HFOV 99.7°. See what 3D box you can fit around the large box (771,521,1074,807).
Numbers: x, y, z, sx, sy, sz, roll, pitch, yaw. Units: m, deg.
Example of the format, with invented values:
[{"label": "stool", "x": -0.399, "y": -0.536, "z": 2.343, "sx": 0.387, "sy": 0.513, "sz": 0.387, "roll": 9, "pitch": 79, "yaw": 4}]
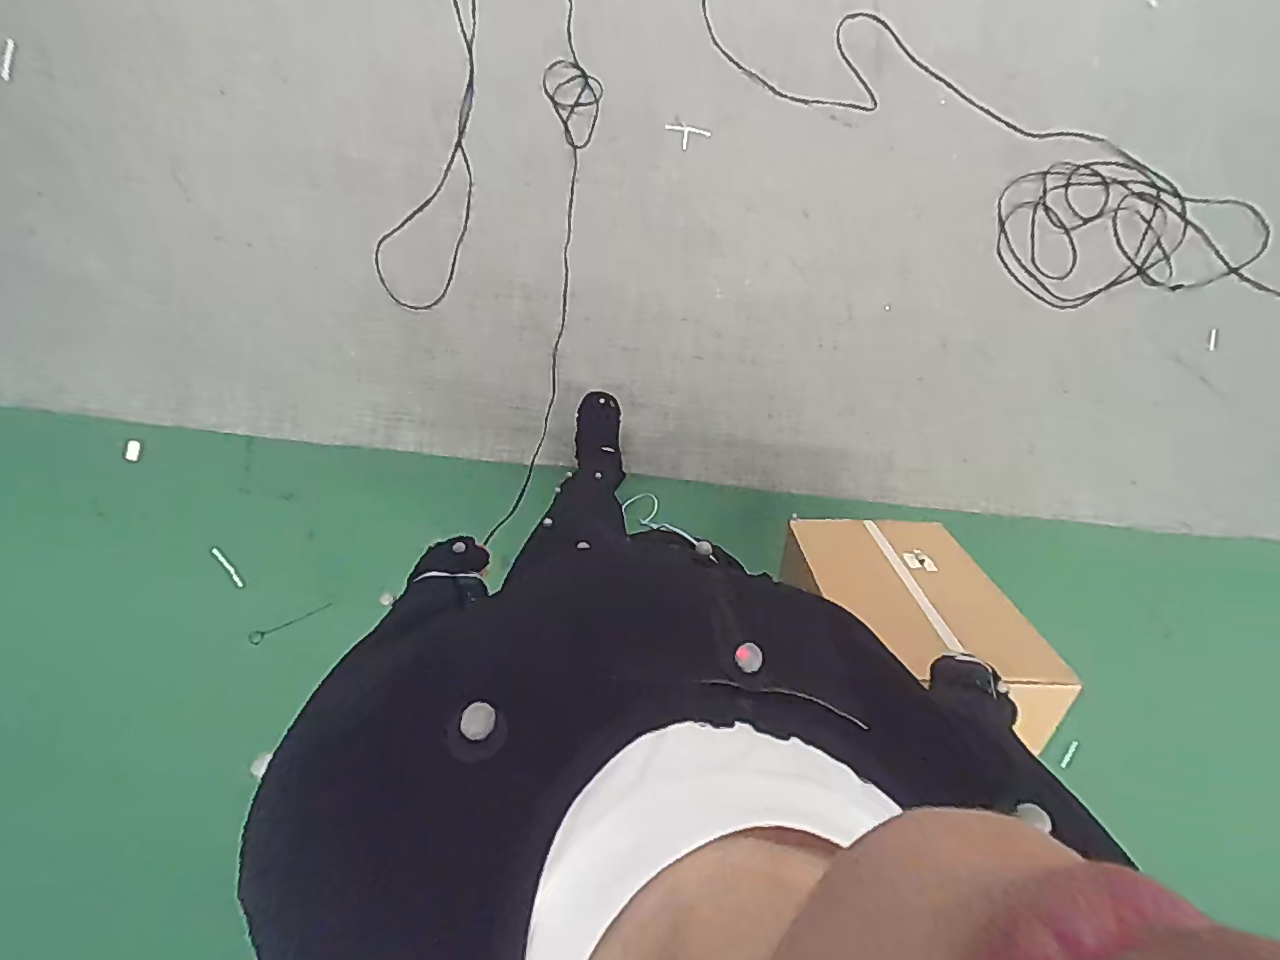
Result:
[{"label": "large box", "x": 0.453, "y": 0.315, "z": 0.993, "sx": 0.320, "sy": 0.408, "sz": 0.320, "roll": 2, "pitch": 118, "yaw": -2}]
